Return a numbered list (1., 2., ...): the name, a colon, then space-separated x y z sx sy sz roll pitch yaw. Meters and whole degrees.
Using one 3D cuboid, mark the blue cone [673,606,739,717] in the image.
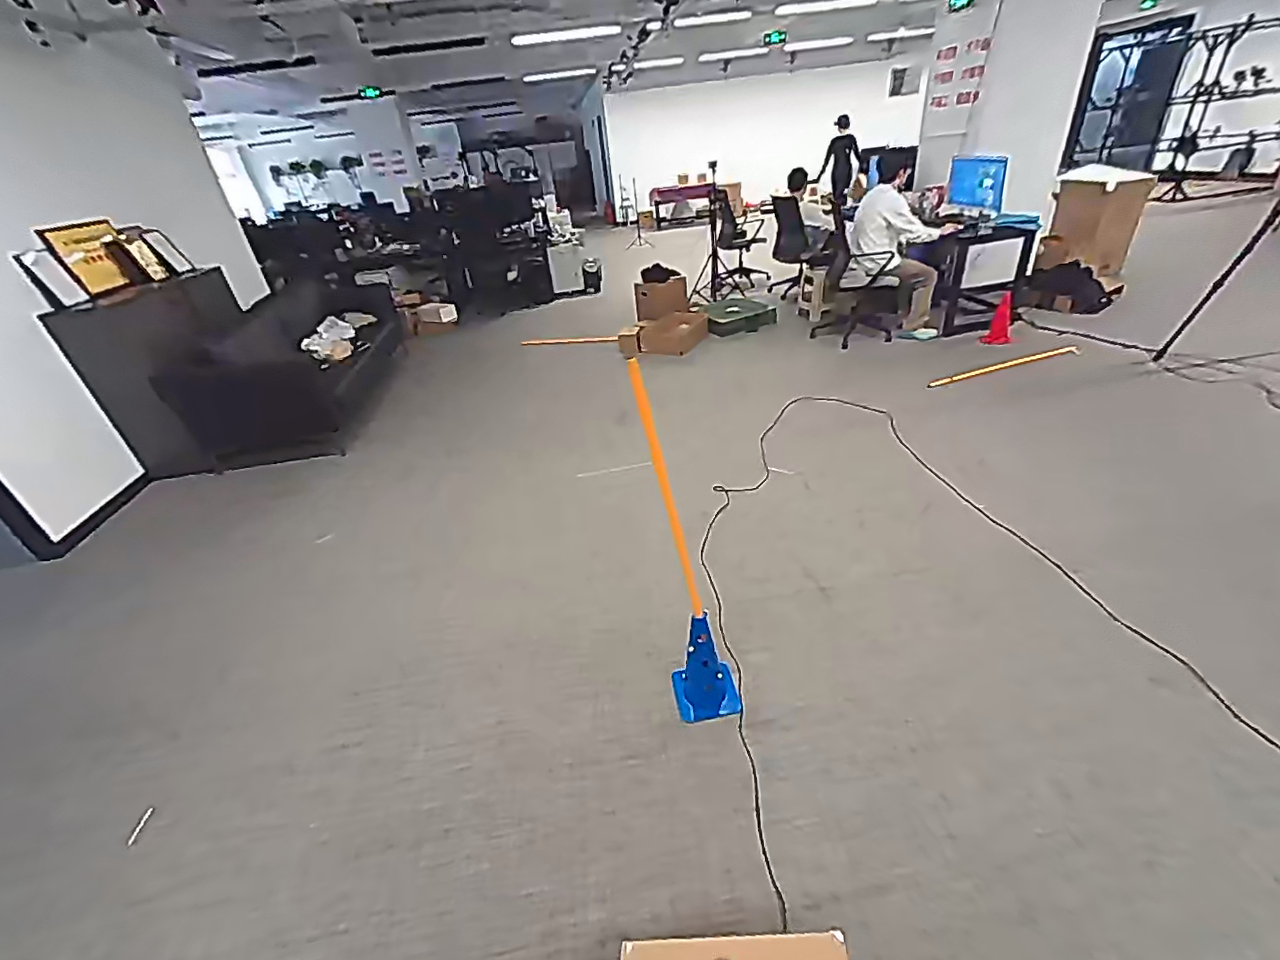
1. blue cone: 0.193 0.546 1.688 0.193 0.380 0.192 -13 32 -5
